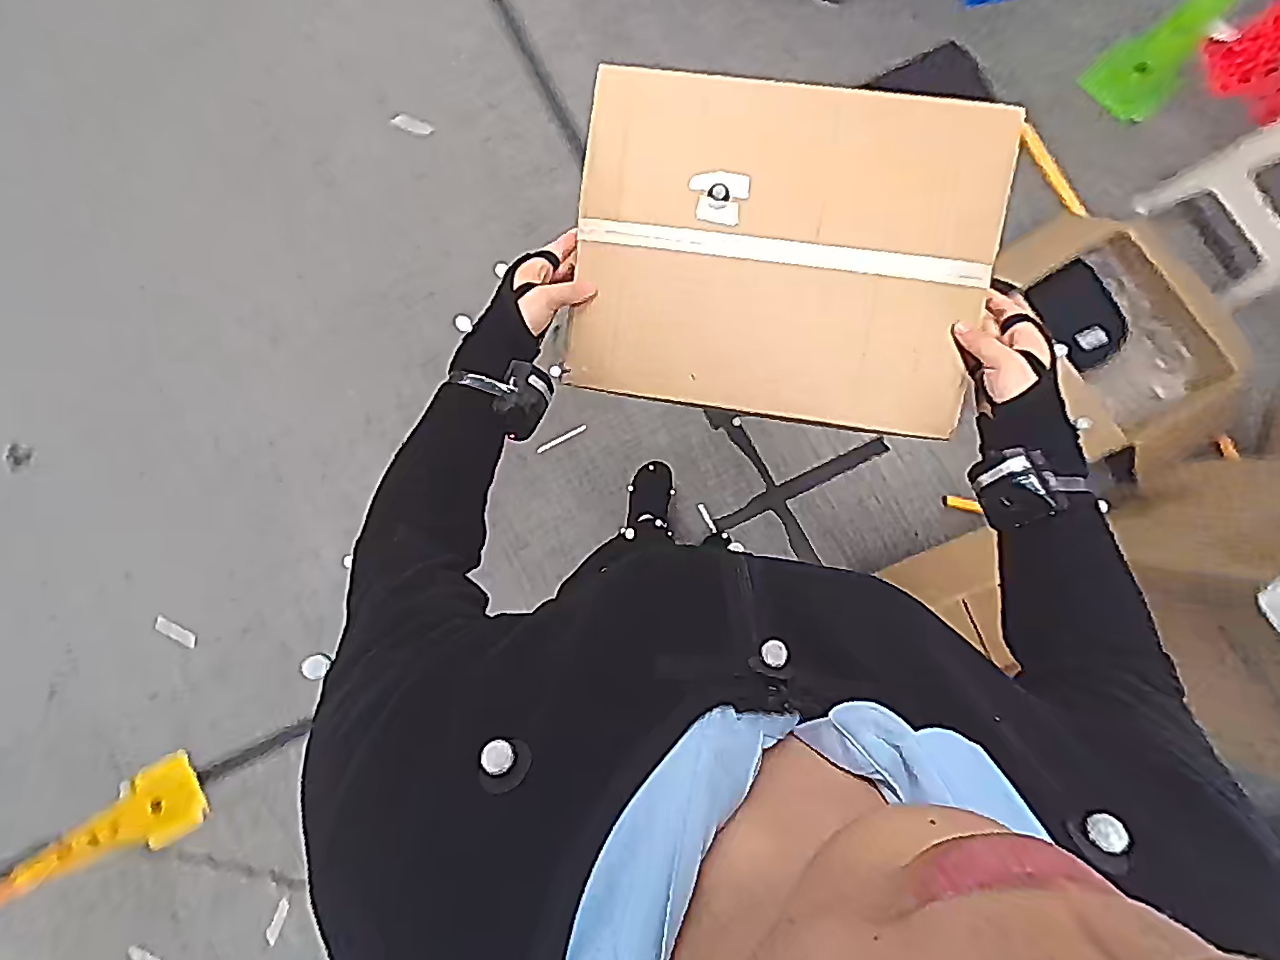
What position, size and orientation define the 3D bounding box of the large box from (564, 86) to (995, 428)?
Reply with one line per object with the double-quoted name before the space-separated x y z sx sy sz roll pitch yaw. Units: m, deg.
"large box" 0.144 -0.245 0.696 0.408 0.320 0.320 7 97 5
